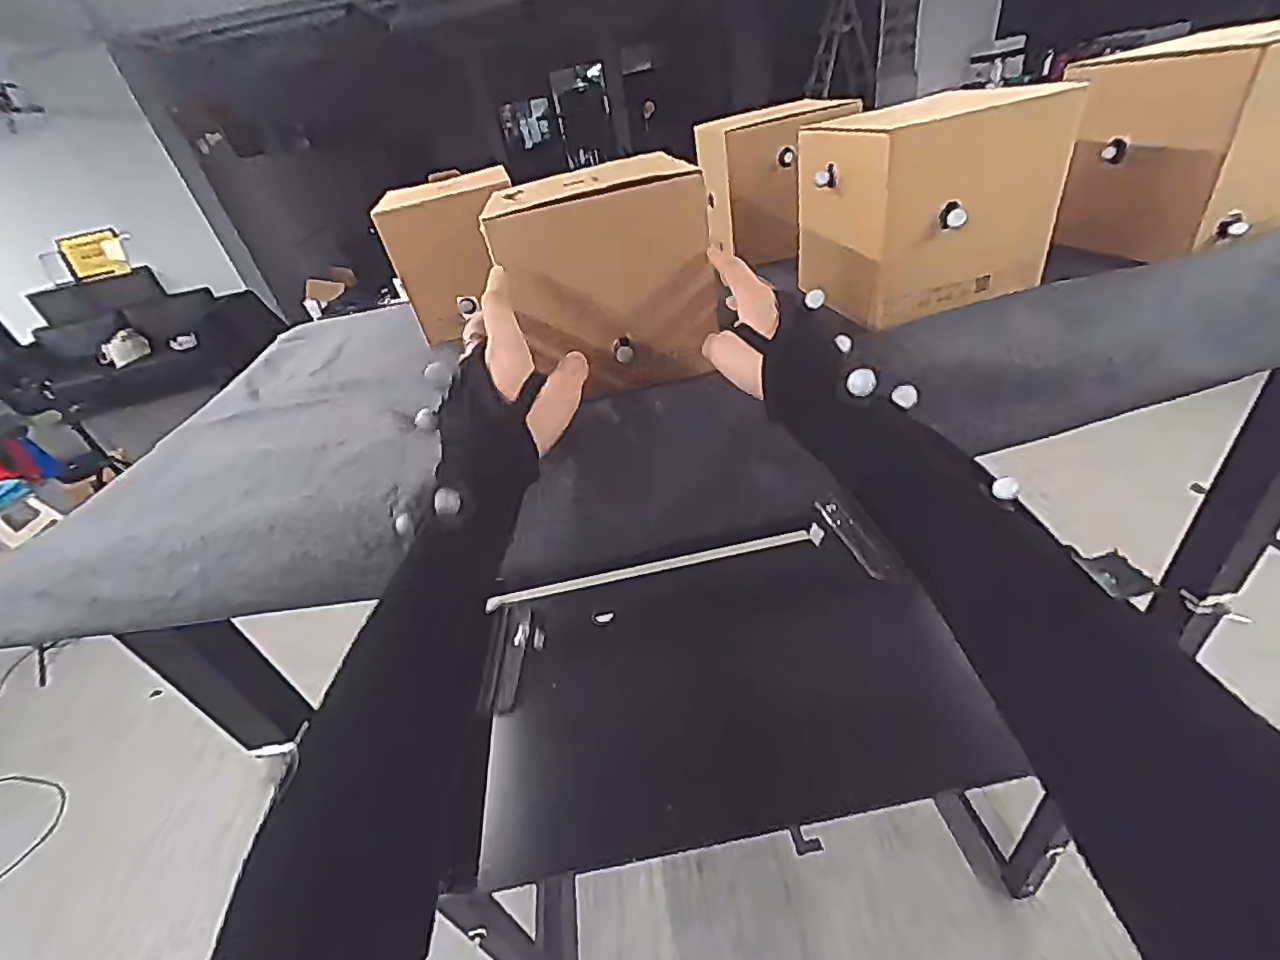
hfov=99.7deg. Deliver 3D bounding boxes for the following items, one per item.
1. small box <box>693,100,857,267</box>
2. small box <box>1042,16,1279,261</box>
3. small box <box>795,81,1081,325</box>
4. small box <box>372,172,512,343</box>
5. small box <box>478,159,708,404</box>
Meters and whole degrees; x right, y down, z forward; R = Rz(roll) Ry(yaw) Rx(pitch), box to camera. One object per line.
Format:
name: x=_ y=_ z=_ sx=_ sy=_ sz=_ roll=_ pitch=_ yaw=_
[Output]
small box: x=0.185 y=-0.415 z=0.761 sx=0.179 sy=0.176 sz=0.168 roll=-13 pitch=36 yaw=0
small box: x=0.533 y=-0.324 z=0.521 sx=0.168 sy=0.176 sz=0.179 roll=-16 pitch=34 yaw=-4
small box: x=0.265 y=-0.264 z=0.527 sx=0.168 sy=0.176 sz=0.179 roll=-14 pitch=34 yaw=-2
small box: x=-0.234 y=-0.306 z=0.740 sx=0.168 sy=0.176 sz=0.179 roll=-17 pitch=35 yaw=-5
small box: x=-0.037 y=-0.193 z=0.520 sx=0.179 sy=0.176 sz=0.168 roll=-13 pitch=34 yaw=-2
